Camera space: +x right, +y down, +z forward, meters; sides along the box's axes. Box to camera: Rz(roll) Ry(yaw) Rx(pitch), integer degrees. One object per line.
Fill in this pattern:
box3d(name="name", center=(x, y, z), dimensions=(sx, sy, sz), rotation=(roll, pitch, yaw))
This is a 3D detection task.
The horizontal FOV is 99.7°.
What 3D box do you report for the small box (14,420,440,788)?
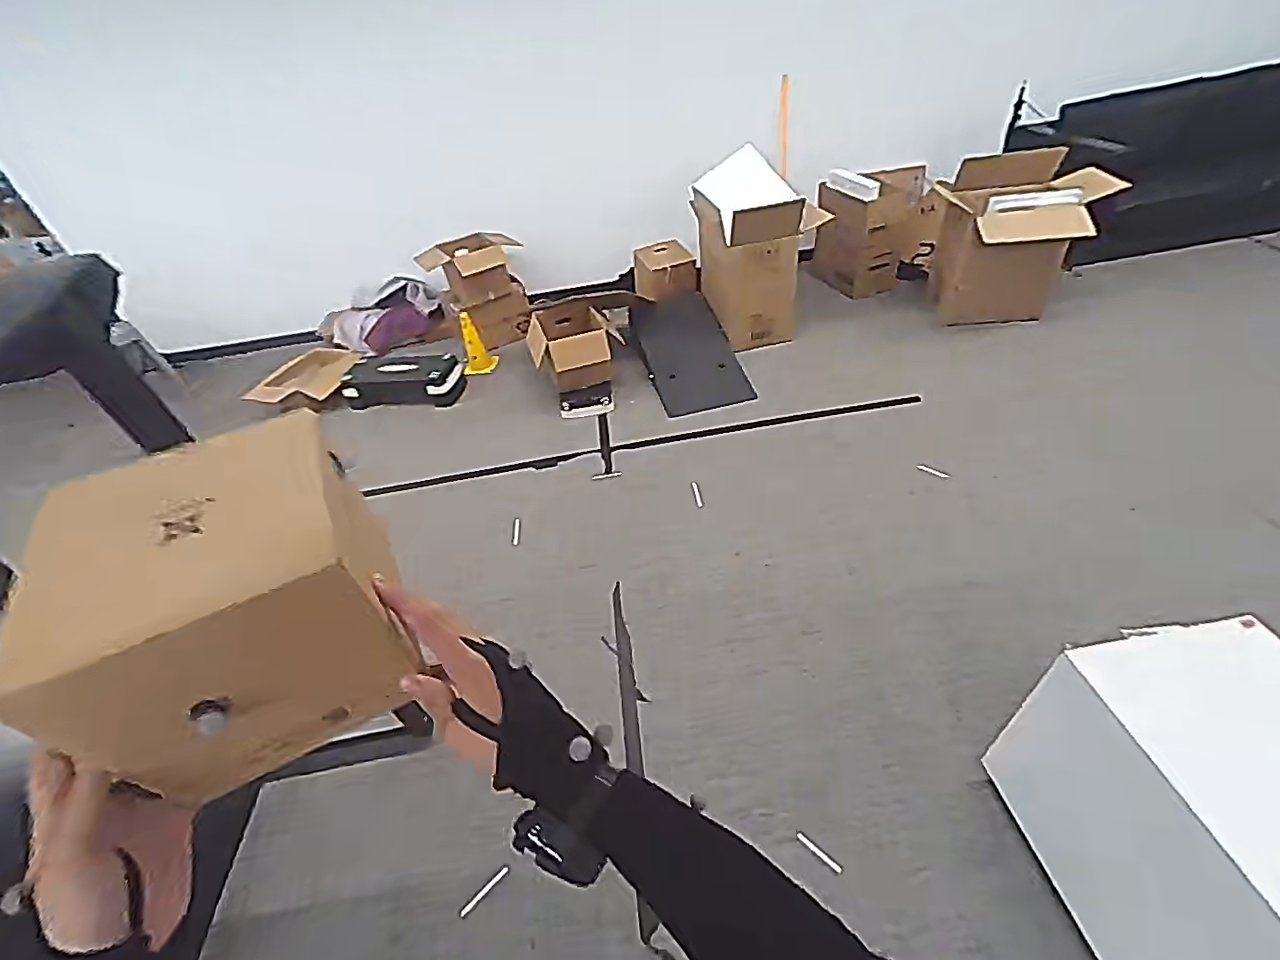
box3d(name="small box", center=(-0.264, 0.091, 0.393), dimensions=(0.168, 0.176, 0.179), rotation=(-23, 46, -18))
